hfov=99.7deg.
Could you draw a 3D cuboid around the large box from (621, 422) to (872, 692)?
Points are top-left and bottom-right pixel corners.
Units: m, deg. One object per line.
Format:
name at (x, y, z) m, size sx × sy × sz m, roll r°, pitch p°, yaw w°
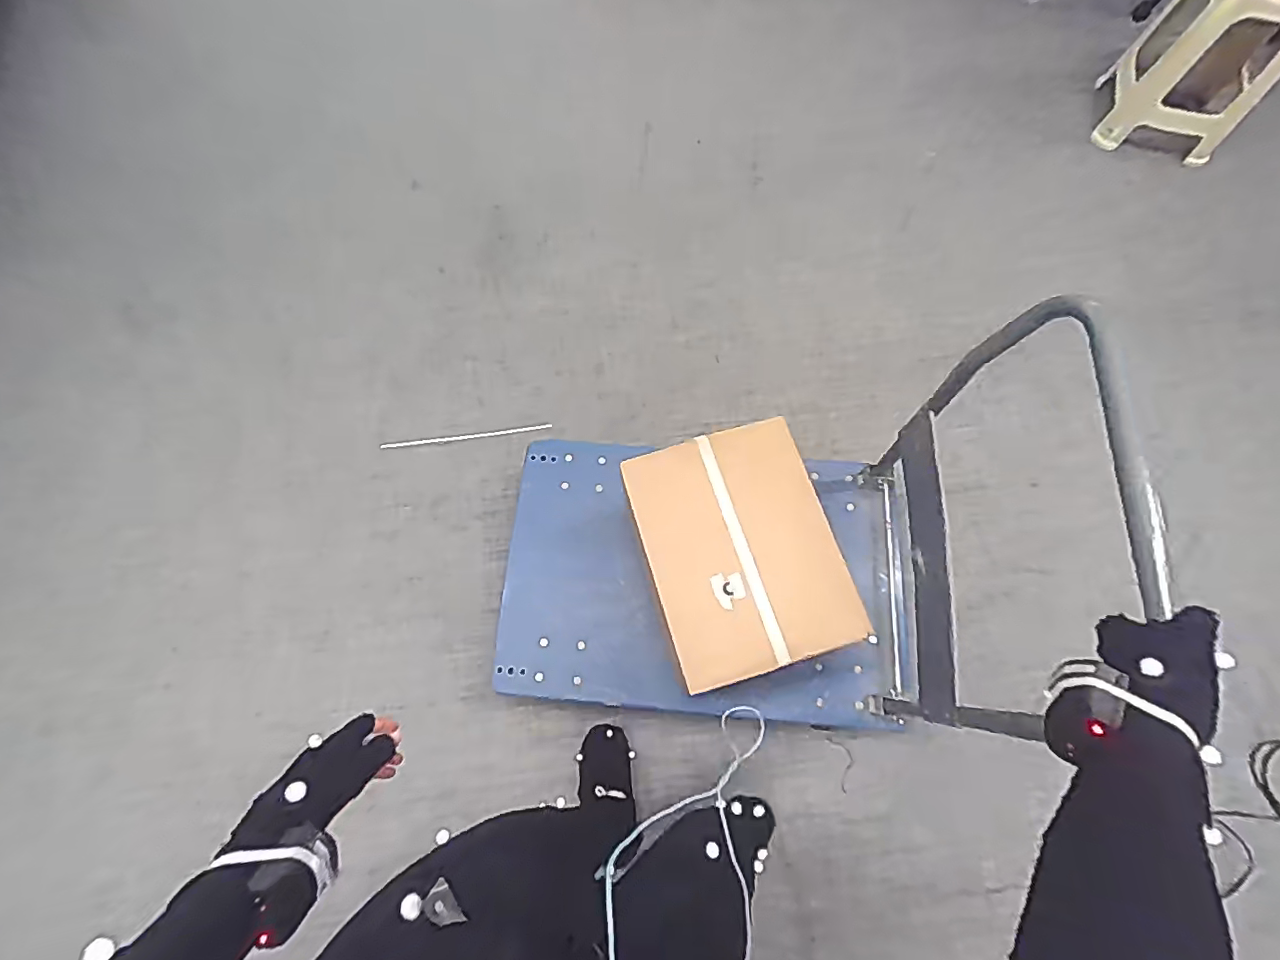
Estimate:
large box at (0.170, 0.159, 1.060) m, size 0.320 × 0.320 × 0.408 m, roll -17°, pitch 72°, yaw -4°
